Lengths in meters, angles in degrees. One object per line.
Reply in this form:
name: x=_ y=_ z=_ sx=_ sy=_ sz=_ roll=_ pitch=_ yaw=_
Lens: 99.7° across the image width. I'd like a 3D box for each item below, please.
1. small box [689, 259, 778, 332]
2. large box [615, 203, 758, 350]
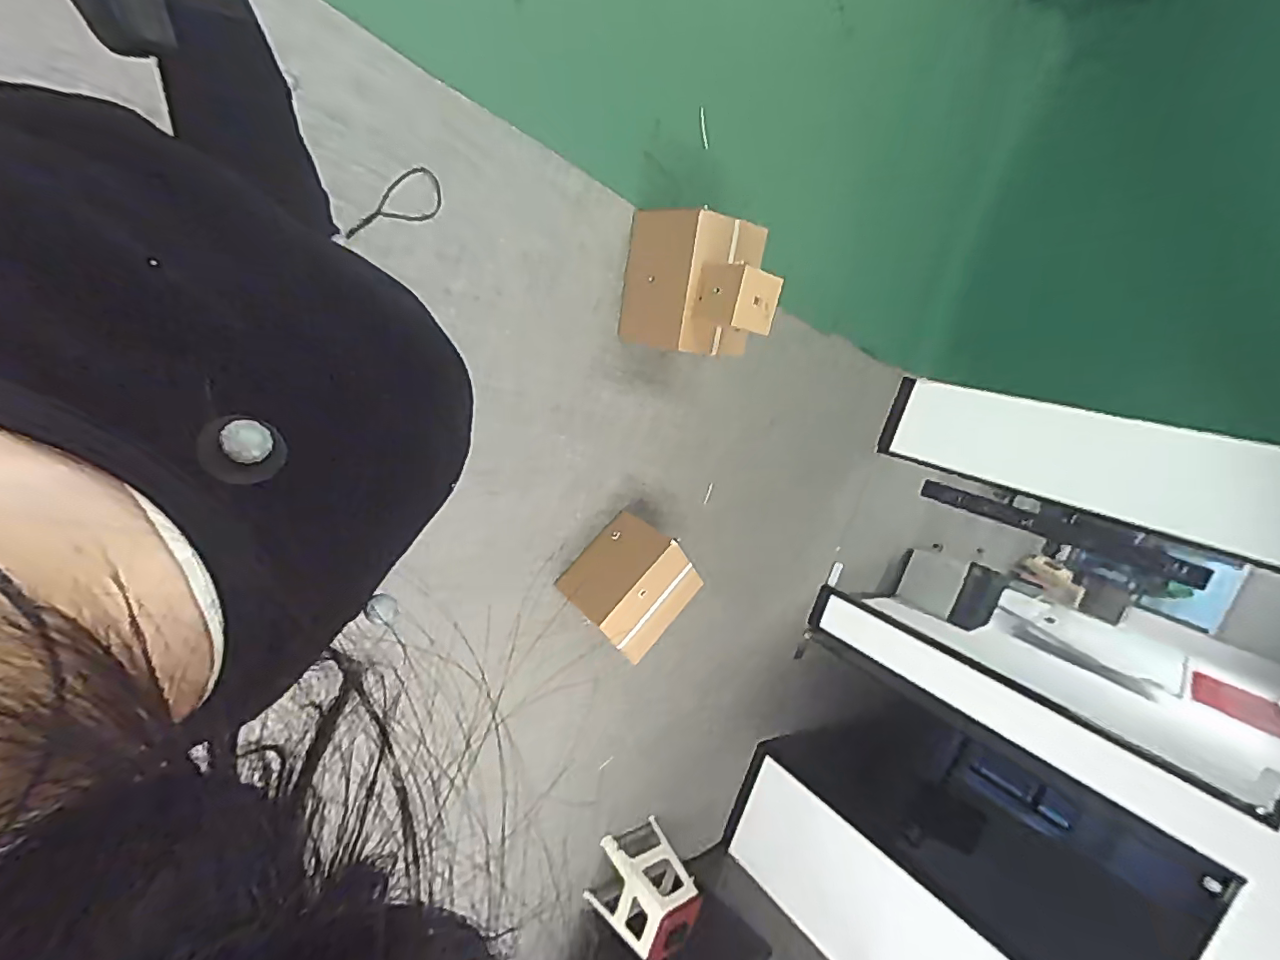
small box: x=0.271 y=-0.546 z=1.596 sx=0.179 sy=0.176 sz=0.168 roll=0 pitch=111 yaw=-42
large box: x=0.141 y=-0.655 z=1.781 sx=0.320 sy=0.320 sz=0.408 roll=-8 pitch=113 yaw=-41
